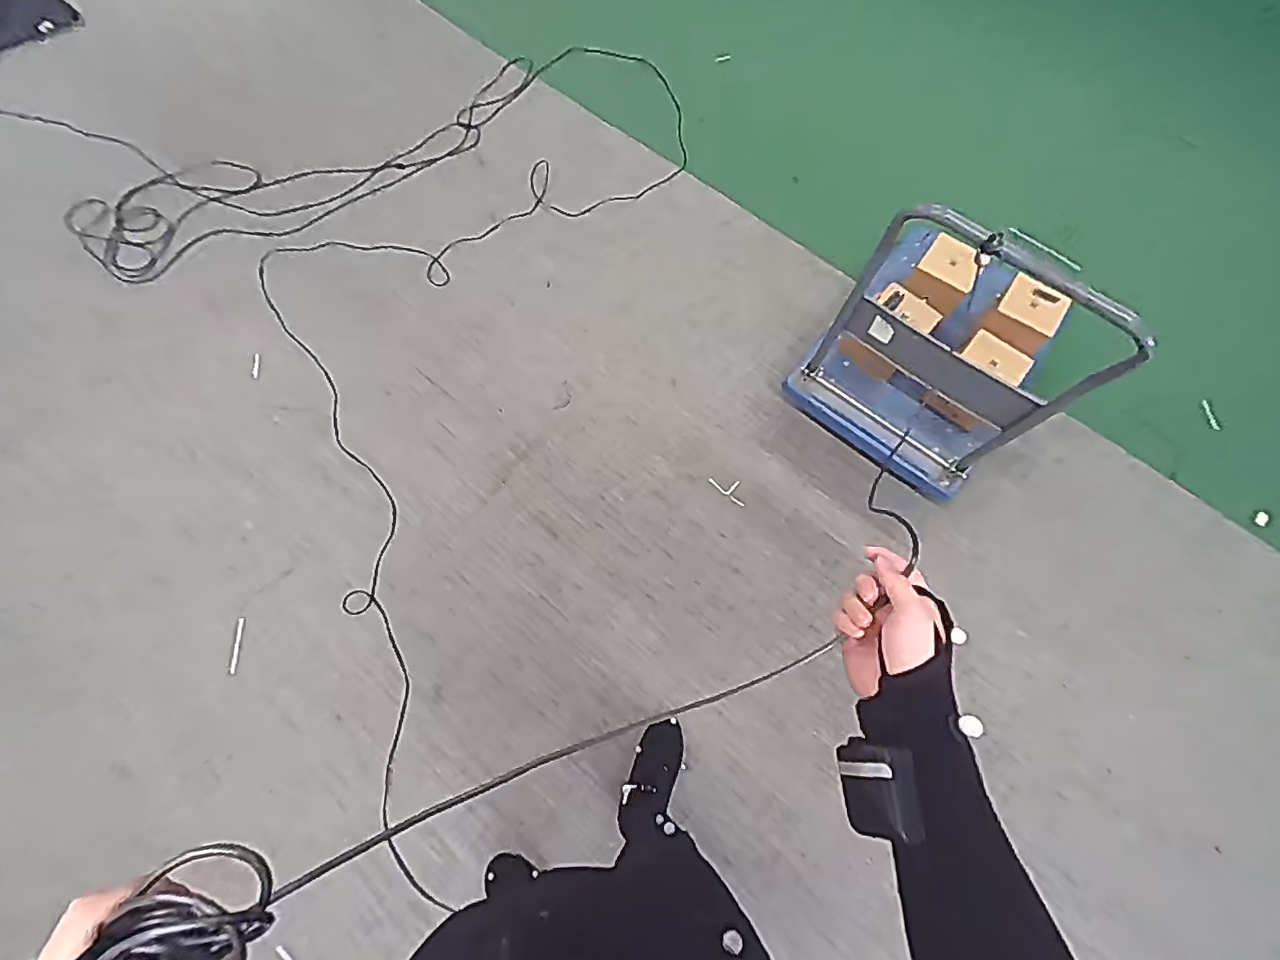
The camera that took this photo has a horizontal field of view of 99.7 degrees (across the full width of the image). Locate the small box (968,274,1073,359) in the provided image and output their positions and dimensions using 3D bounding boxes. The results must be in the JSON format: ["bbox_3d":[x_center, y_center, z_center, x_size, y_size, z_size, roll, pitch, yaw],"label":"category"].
[{"bbox_3d":[1.128,-0.468,1.616,0.168,0.176,0.179,35,72,12],"label":"small box"}]

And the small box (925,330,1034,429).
[{"bbox_3d":[0.953,-0.279,1.534,0.168,0.176,0.179,40,73,13],"label":"small box"}]

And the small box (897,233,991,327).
[{"bbox_3d":[0.925,-0.609,1.665,0.168,0.176,0.179,35,71,11],"label":"small box"}]
